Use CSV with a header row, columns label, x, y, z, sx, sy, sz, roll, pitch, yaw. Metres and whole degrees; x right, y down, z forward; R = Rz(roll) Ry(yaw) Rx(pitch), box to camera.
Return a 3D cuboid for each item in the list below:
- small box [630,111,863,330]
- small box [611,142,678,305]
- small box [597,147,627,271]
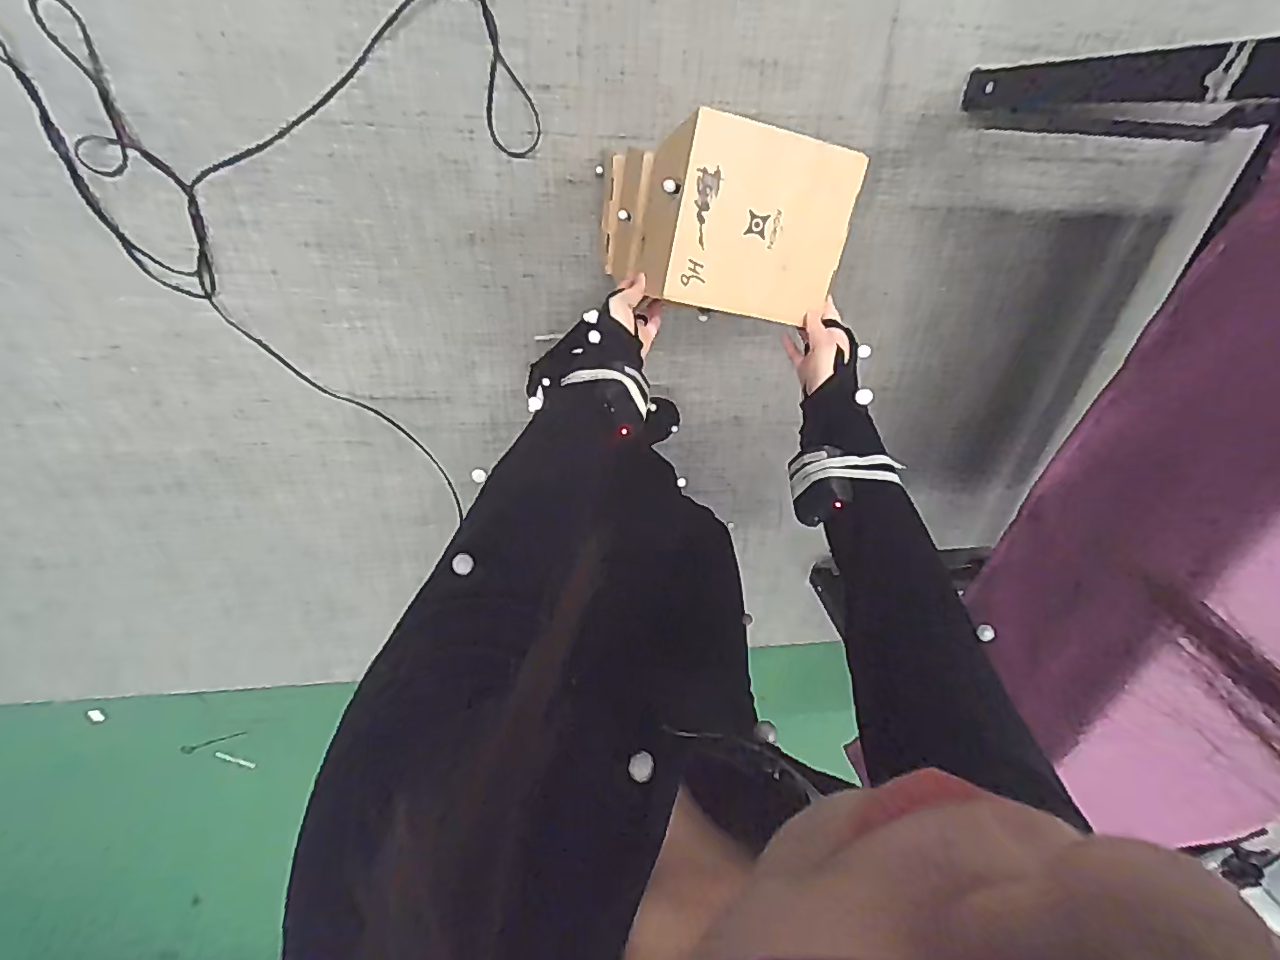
label,x,y,z,sx,sy,sz,roll,pitch,yaw
small box,0.101,-0.273,0.596,0.179,0.176,0.168,6,110,-15
small box,0.056,-0.354,0.752,0.168,0.176,0.179,4,124,-12
small box,0.024,-0.440,0.888,0.179,0.176,0.168,0,125,-11
